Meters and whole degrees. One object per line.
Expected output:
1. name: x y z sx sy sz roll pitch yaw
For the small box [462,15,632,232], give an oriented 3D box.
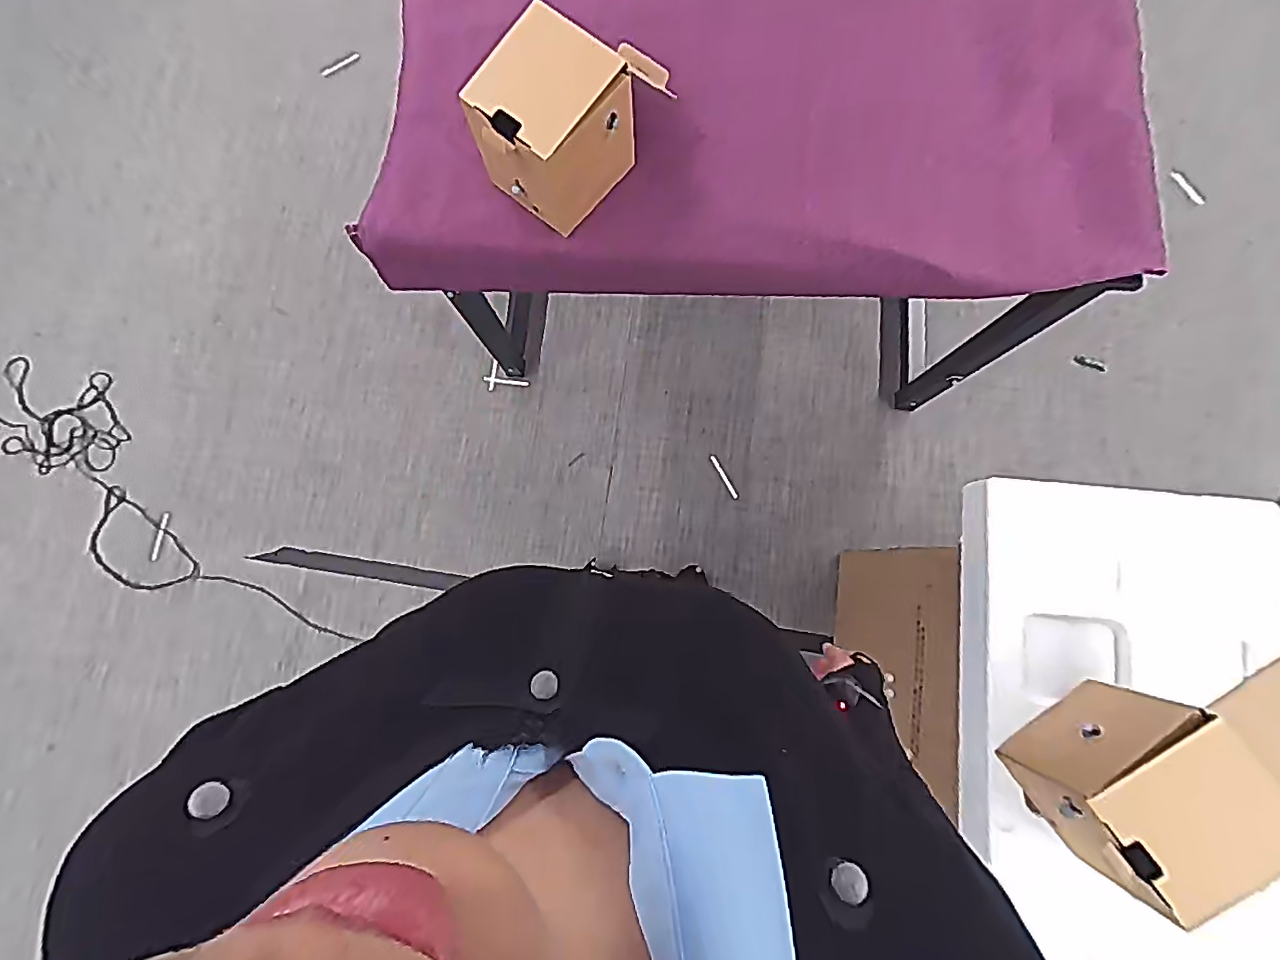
1. small box: -0.128 -0.522 0.814 0.168 0.176 0.179 39 83 8
